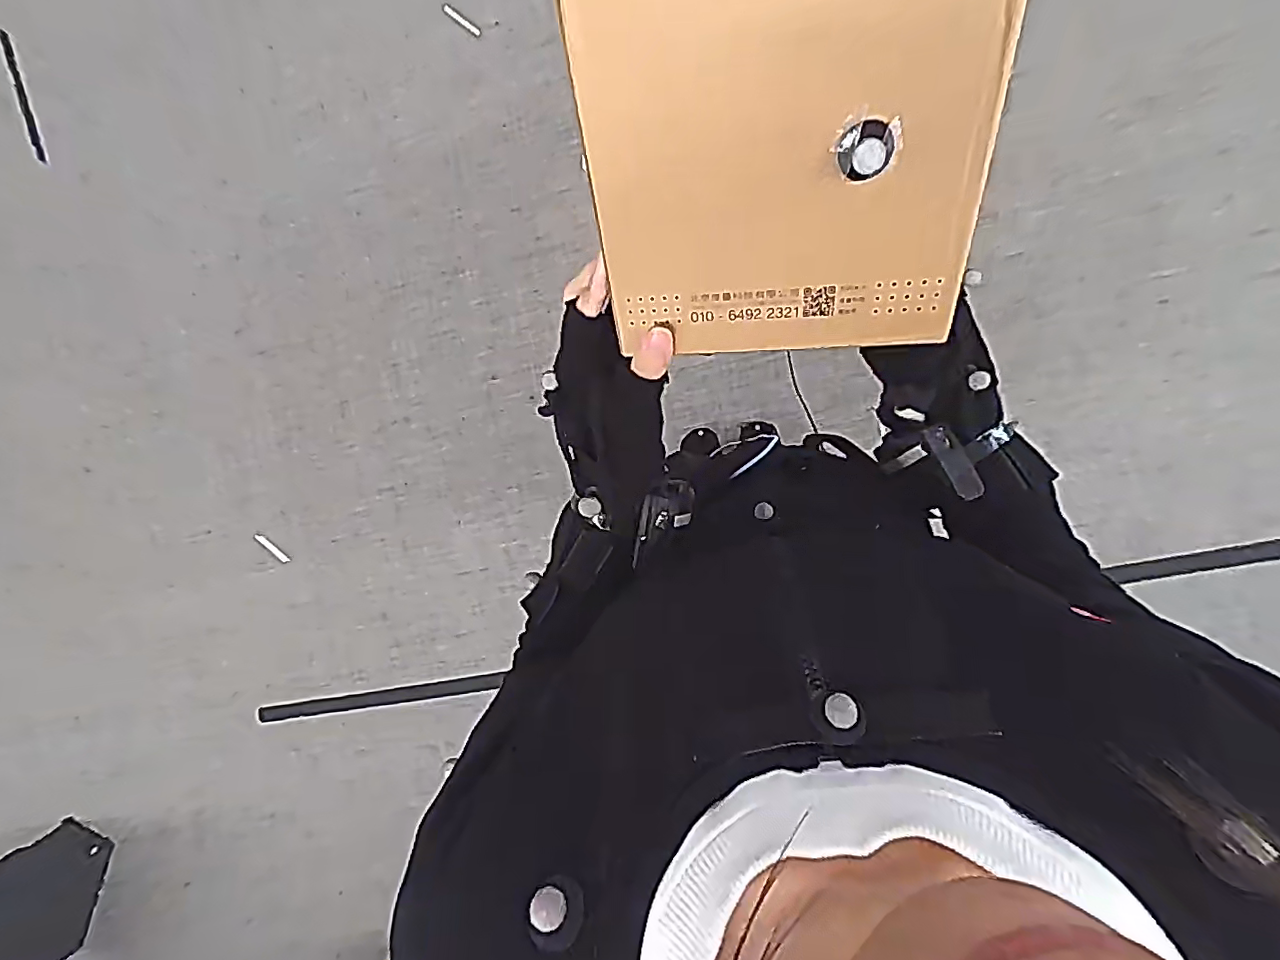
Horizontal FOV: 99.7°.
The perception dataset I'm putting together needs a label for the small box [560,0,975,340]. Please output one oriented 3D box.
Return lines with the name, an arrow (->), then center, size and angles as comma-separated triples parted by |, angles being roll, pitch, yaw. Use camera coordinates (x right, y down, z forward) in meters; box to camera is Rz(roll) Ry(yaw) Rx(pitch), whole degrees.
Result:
small box -> 0.074, -0.190, 0.312 | 0.168, 0.179, 0.176 | 1, 131, 14
